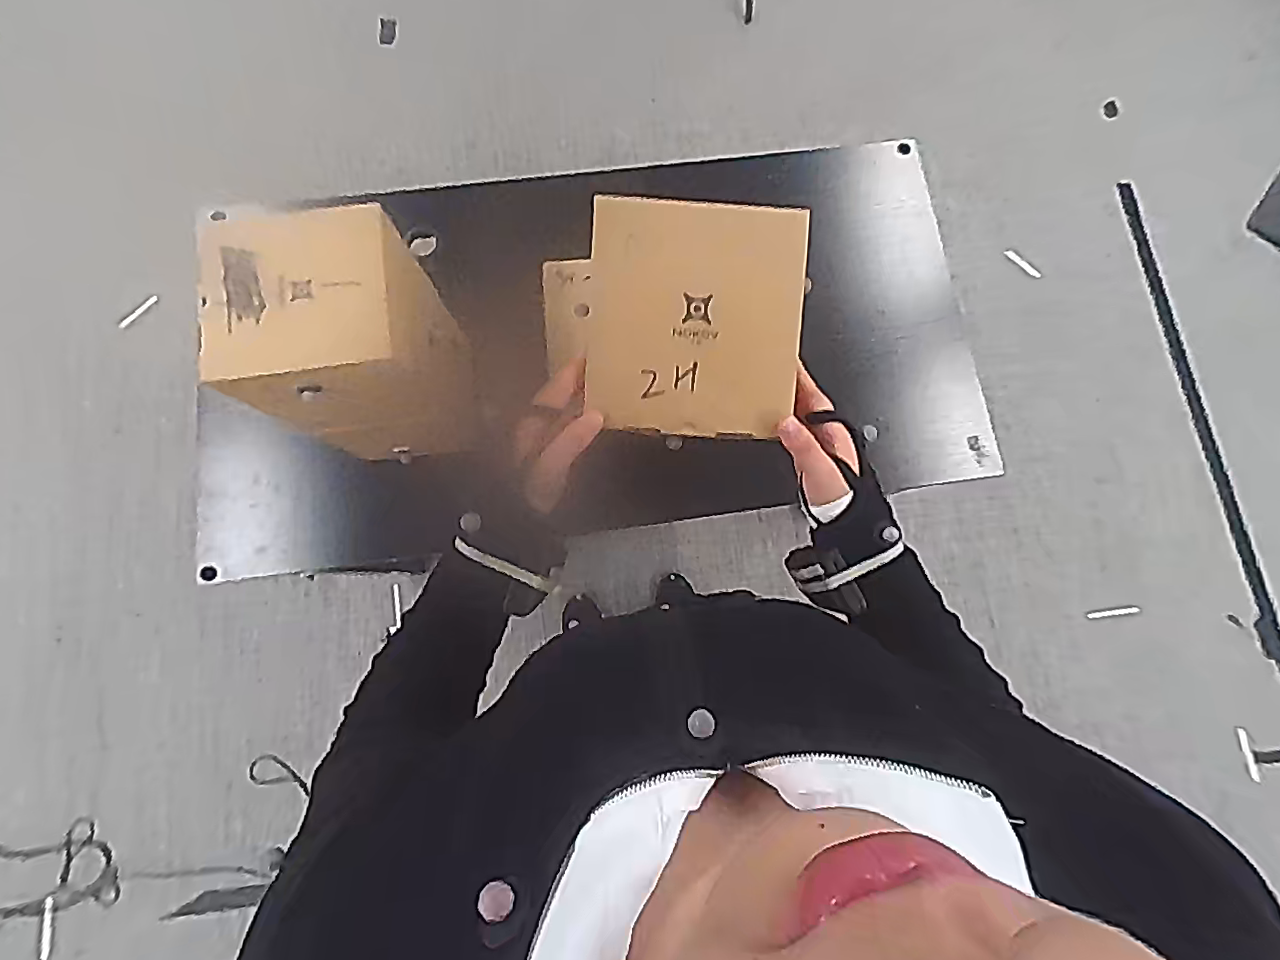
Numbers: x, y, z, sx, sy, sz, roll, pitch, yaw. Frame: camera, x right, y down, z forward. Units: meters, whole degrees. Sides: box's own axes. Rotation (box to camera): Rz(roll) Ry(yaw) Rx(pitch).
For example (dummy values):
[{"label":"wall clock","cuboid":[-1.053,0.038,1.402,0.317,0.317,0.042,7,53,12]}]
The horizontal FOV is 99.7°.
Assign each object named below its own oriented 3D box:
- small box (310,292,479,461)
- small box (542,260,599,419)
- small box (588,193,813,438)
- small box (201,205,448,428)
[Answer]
[{"label":"small box","cuboid":[-0.333,-0.136,0.752,0.168,0.176,0.179,-8,81,-2]},{"label":"small box","cuboid":[-0.042,-0.189,0.770,0.168,0.176,0.179,-4,80,-2]},{"label":"small box","cuboid":[0.044,-0.131,0.495,0.168,0.176,0.179,4,95,-1]},{"label":"small box","cuboid":[-0.328,-0.163,0.590,0.179,0.176,0.168,-9,80,-4]}]
